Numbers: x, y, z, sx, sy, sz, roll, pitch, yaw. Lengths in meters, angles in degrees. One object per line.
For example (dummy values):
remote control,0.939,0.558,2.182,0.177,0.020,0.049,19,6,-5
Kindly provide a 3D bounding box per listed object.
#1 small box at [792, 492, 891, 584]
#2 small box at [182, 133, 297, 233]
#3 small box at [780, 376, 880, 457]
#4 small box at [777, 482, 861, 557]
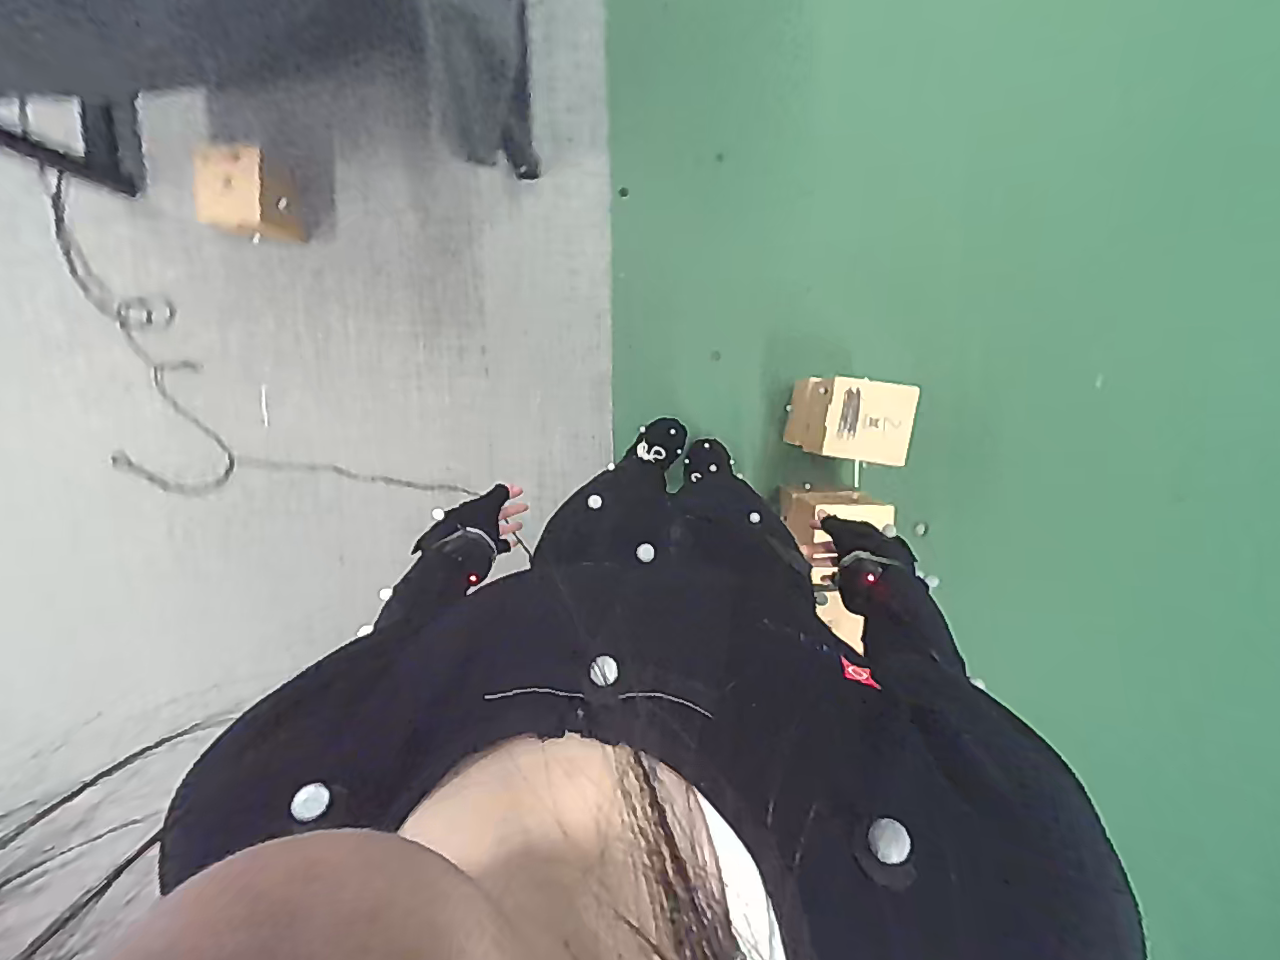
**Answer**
small box,0.446,0.124,1.221,0.168,0.176,0.179,1,98,3
small box,-0.989,-0.731,1.348,0.168,0.176,0.179,4,98,2
small box,0.466,-0.160,1.349,0.179,0.176,0.168,11,97,2
small box,0.449,0.096,1.382,0.179,0.176,0.168,-2,97,3
